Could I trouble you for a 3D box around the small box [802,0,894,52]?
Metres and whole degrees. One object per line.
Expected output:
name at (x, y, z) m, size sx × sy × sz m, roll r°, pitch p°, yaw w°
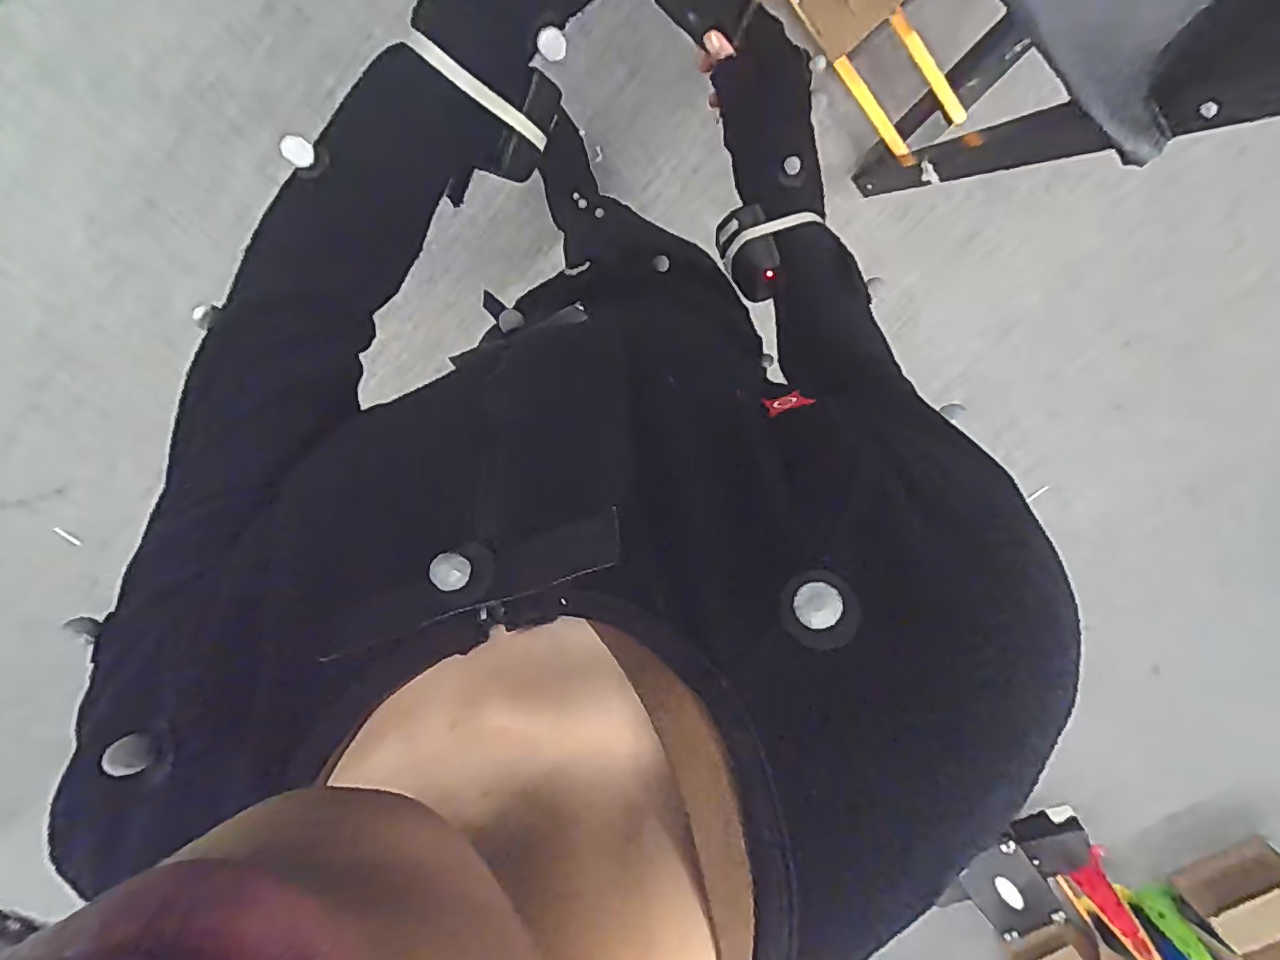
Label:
small box at (0.397, -0.921, 0.962) m, size 0.179 × 0.176 × 0.168 m, roll -40°, pitch 110°, yaw 13°
